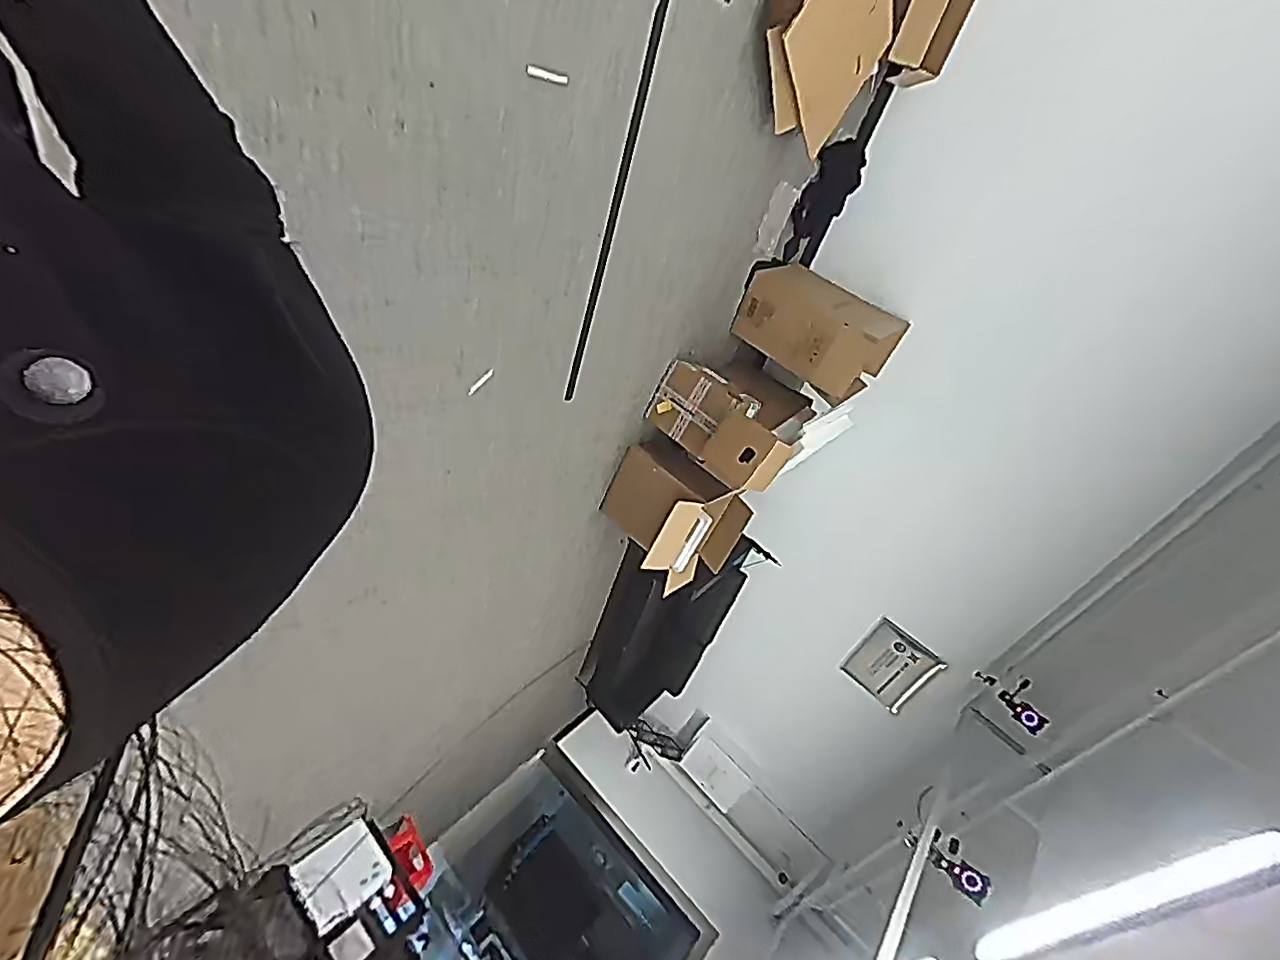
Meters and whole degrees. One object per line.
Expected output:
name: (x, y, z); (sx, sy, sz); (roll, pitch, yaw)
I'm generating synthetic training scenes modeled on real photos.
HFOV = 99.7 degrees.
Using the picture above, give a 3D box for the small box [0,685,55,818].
small box: (-1.179, 0.494, 0.940); (0.168, 0.176, 0.179); (-26, 144, -45)

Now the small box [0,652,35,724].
small box: (-1.302, 0.410, 1.007); (0.179, 0.176, 0.168); (-26, 145, -43)

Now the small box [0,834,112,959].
small box: (-0.942, 0.676, 0.805); (0.168, 0.176, 0.179); (-24, 144, -46)
